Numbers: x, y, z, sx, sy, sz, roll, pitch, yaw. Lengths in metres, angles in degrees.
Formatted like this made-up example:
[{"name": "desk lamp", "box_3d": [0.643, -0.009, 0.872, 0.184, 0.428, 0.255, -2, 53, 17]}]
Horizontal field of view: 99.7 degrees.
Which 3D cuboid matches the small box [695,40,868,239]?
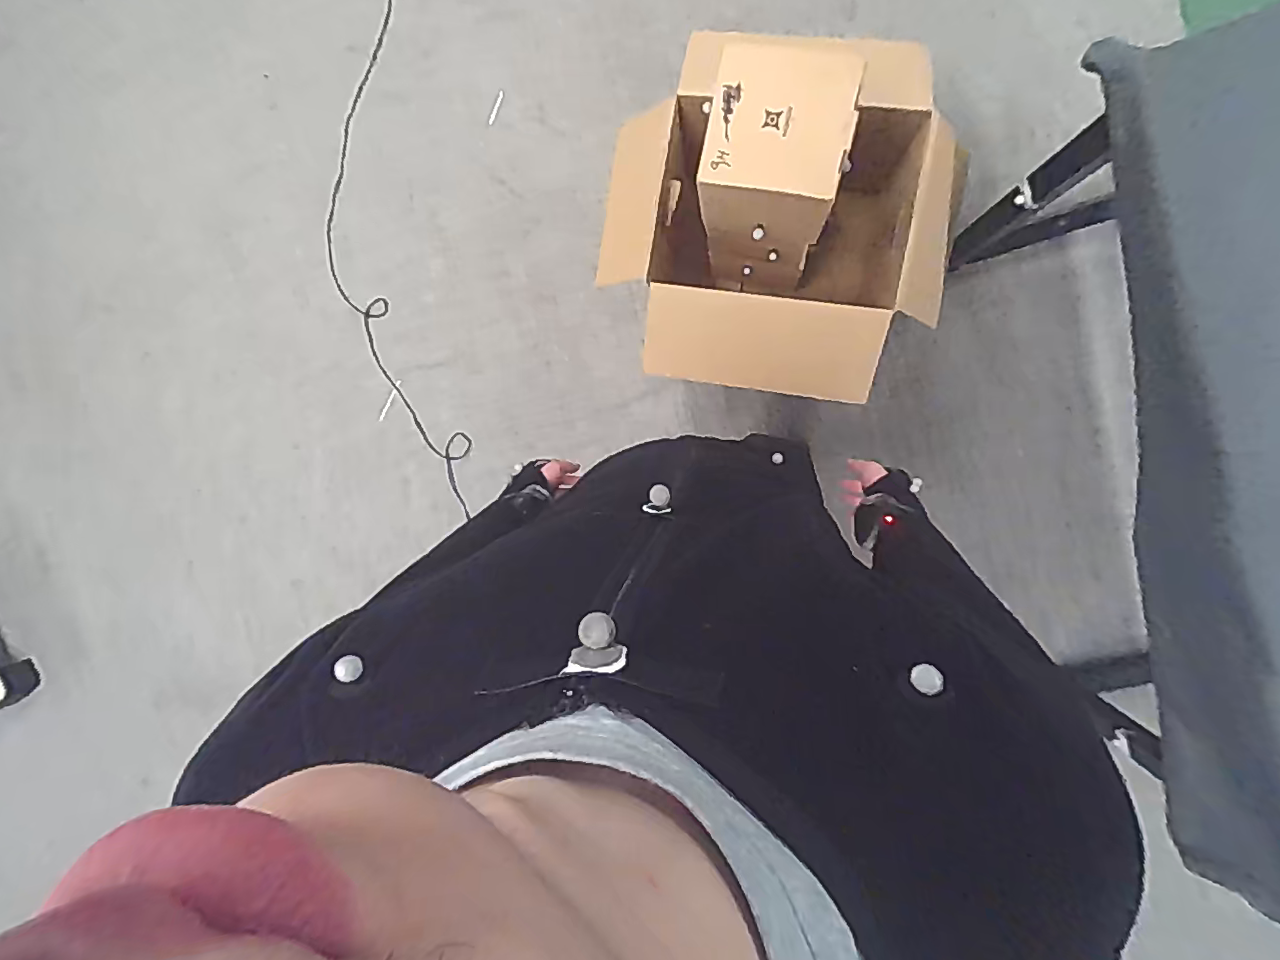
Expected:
[{"name": "small box", "box_3d": [0.182, -0.448, 0.739, 0.179, 0.176, 0.168, 13, 98, 8]}]
